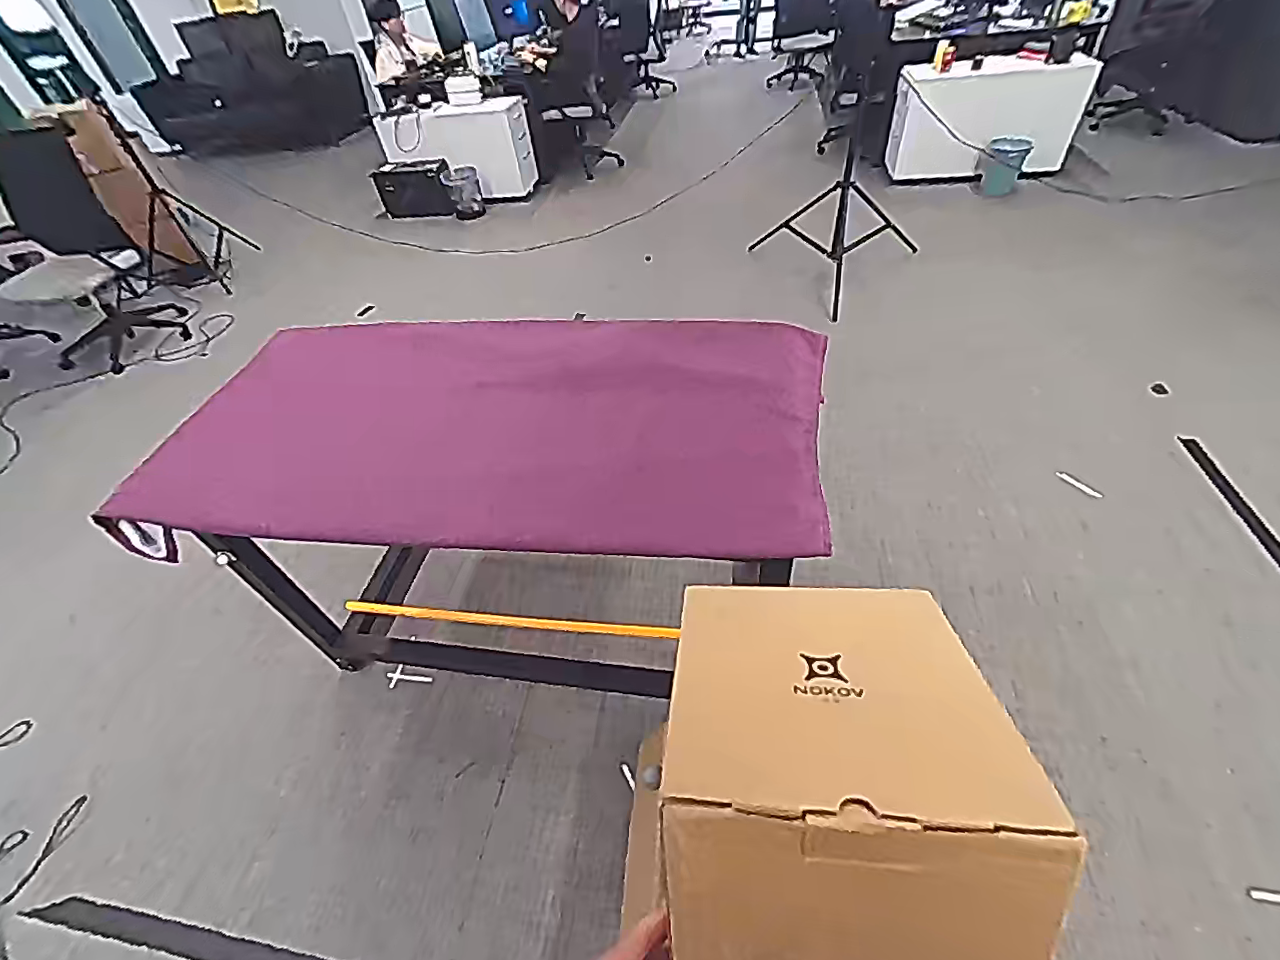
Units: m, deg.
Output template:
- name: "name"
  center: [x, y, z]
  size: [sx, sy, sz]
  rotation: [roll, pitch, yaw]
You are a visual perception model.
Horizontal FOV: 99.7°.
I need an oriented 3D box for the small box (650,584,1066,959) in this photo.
- name: "small box"
  center: [0.101, 0.181, 0.324]
  size: [0.168, 0.176, 0.179]
  rotation: [-2, 21, 9]
